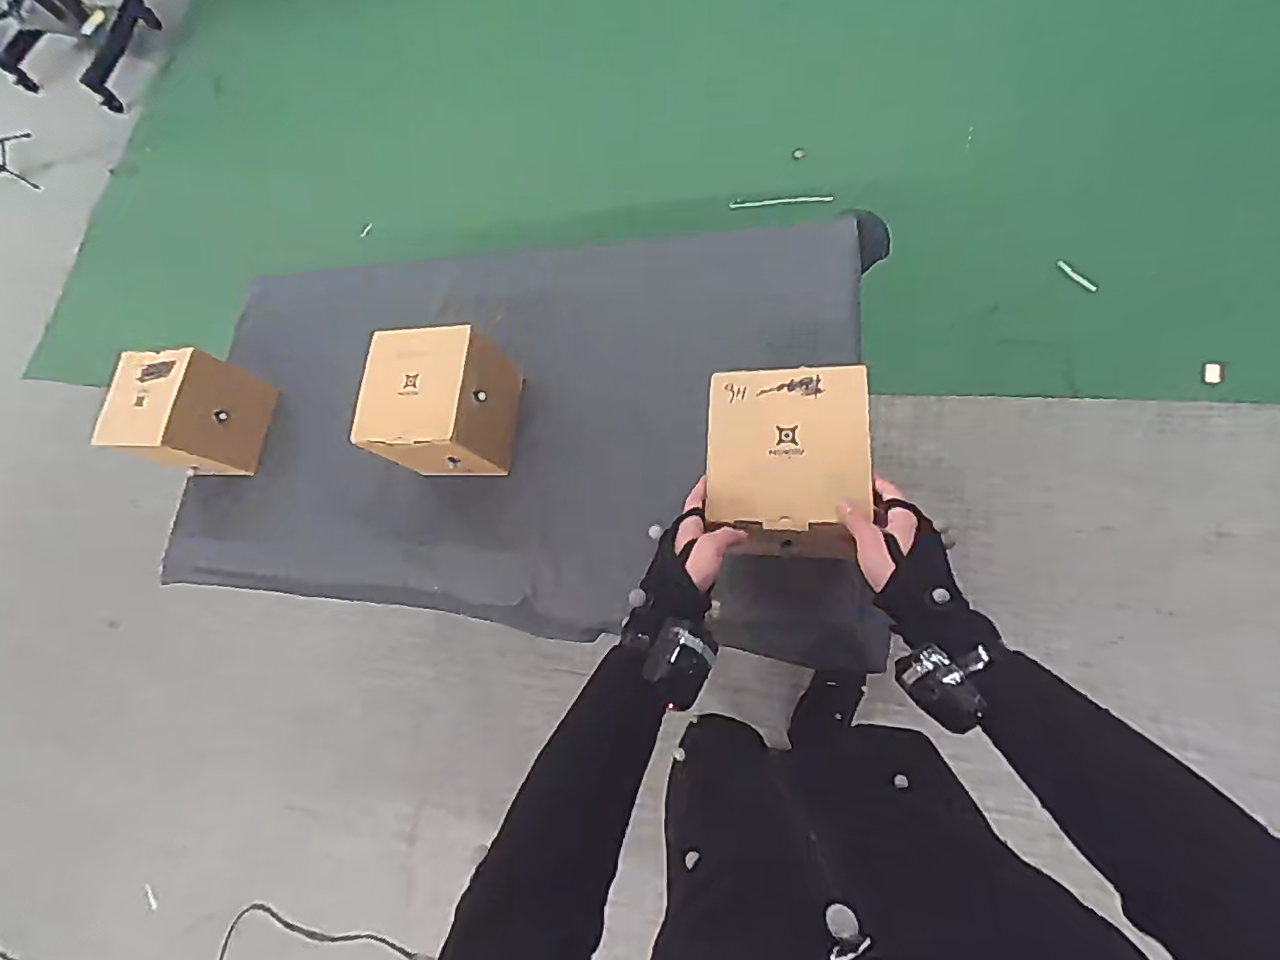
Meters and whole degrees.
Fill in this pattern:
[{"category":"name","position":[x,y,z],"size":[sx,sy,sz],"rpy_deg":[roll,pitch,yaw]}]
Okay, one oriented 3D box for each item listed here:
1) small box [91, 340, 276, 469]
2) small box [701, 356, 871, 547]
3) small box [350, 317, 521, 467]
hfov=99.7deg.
[{"category":"small box","position":[-0.796,-0.129,0.962],"size":[0.168,0.176,0.179],"rpy_deg":[1,75,16]},{"category":"small box","position":[0.170,-0.023,0.626],"size":[0.168,0.176,0.179],"rpy_deg":[1,73,16]},{"category":"small box","position":[-0.298,-0.123,0.823],"size":[0.168,0.176,0.179],"rpy_deg":[1,74,15]}]
